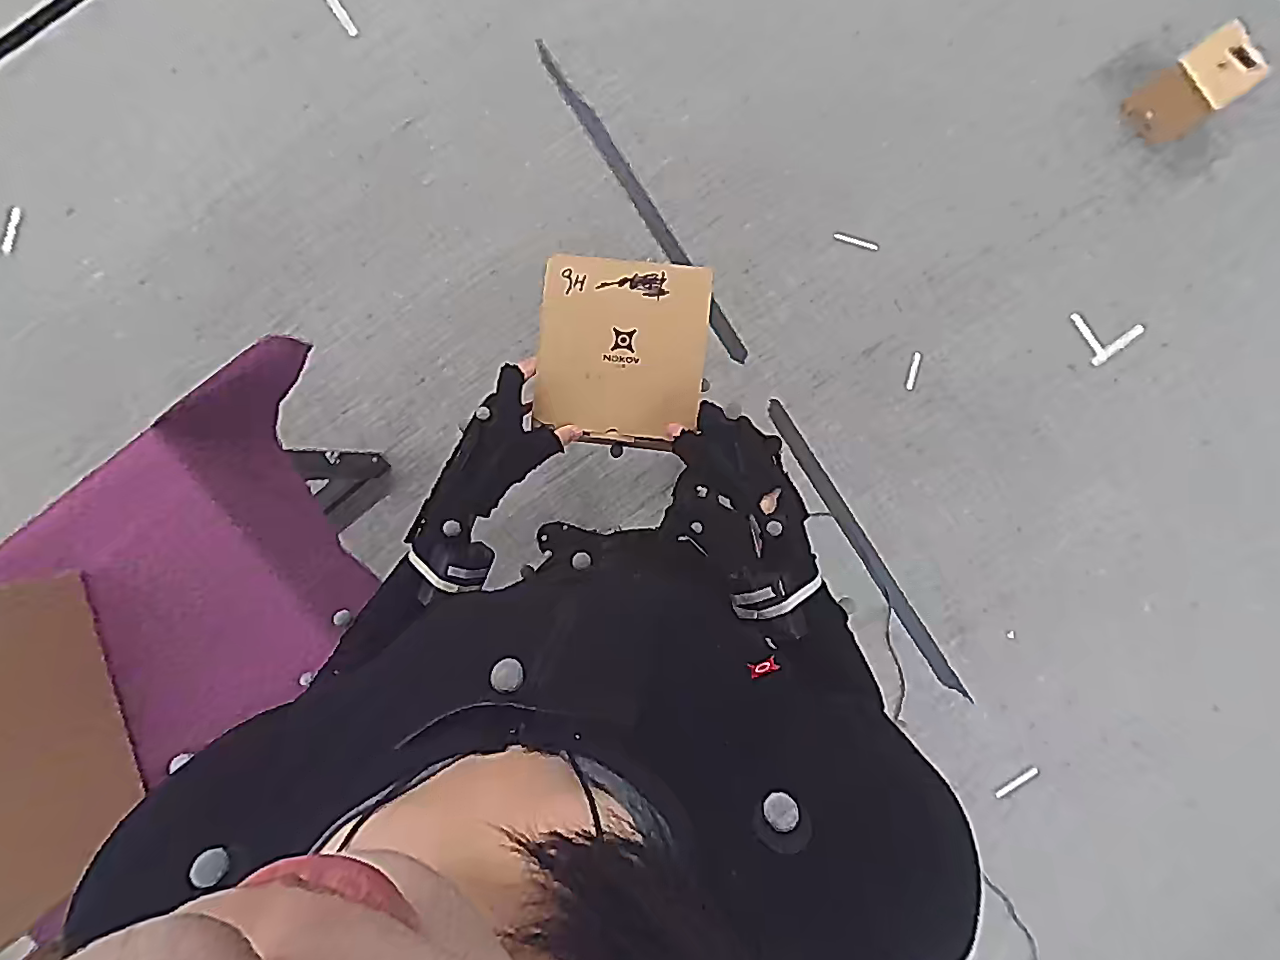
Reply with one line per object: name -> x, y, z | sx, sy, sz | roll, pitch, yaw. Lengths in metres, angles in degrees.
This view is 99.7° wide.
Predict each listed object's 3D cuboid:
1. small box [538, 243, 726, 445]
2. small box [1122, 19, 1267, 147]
small box -> -0.005, -0.134, 0.596 | 0.168, 0.176, 0.179 | 7, 92, 1
small box -> 1.456, -1.039, 1.431 | 0.179, 0.176, 0.168 | -36, 91, 1
